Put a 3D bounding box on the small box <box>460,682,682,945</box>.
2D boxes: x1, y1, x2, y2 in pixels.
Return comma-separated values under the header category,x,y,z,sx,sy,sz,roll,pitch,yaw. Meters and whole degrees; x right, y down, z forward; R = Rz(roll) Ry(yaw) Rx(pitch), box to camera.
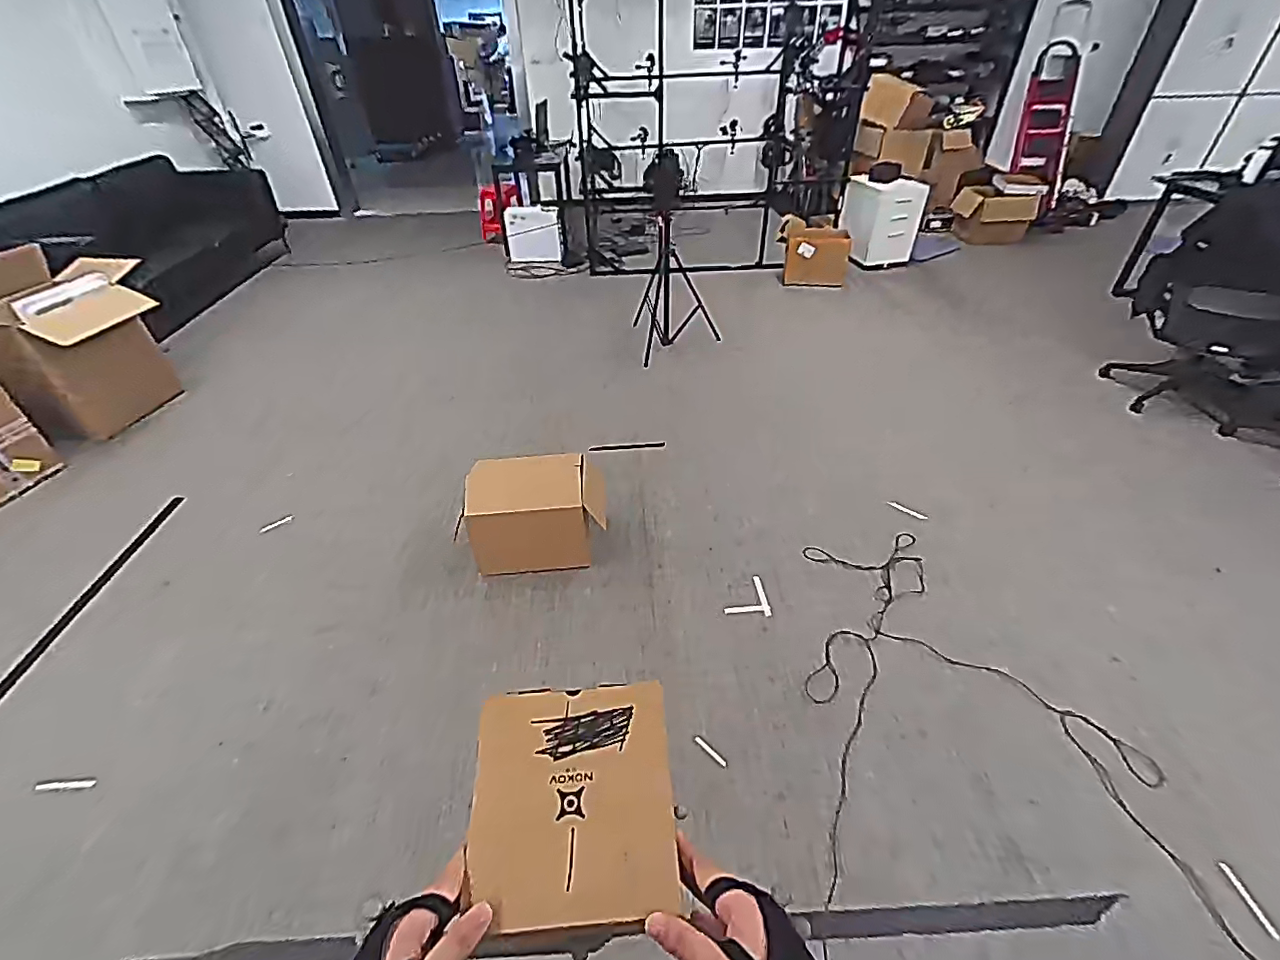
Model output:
category,x,y,z,sx,sy,sz,roll,pitch,yaw
small box,-0.055,0.314,0.510,0.168,0.176,0.179,-4,48,-2
